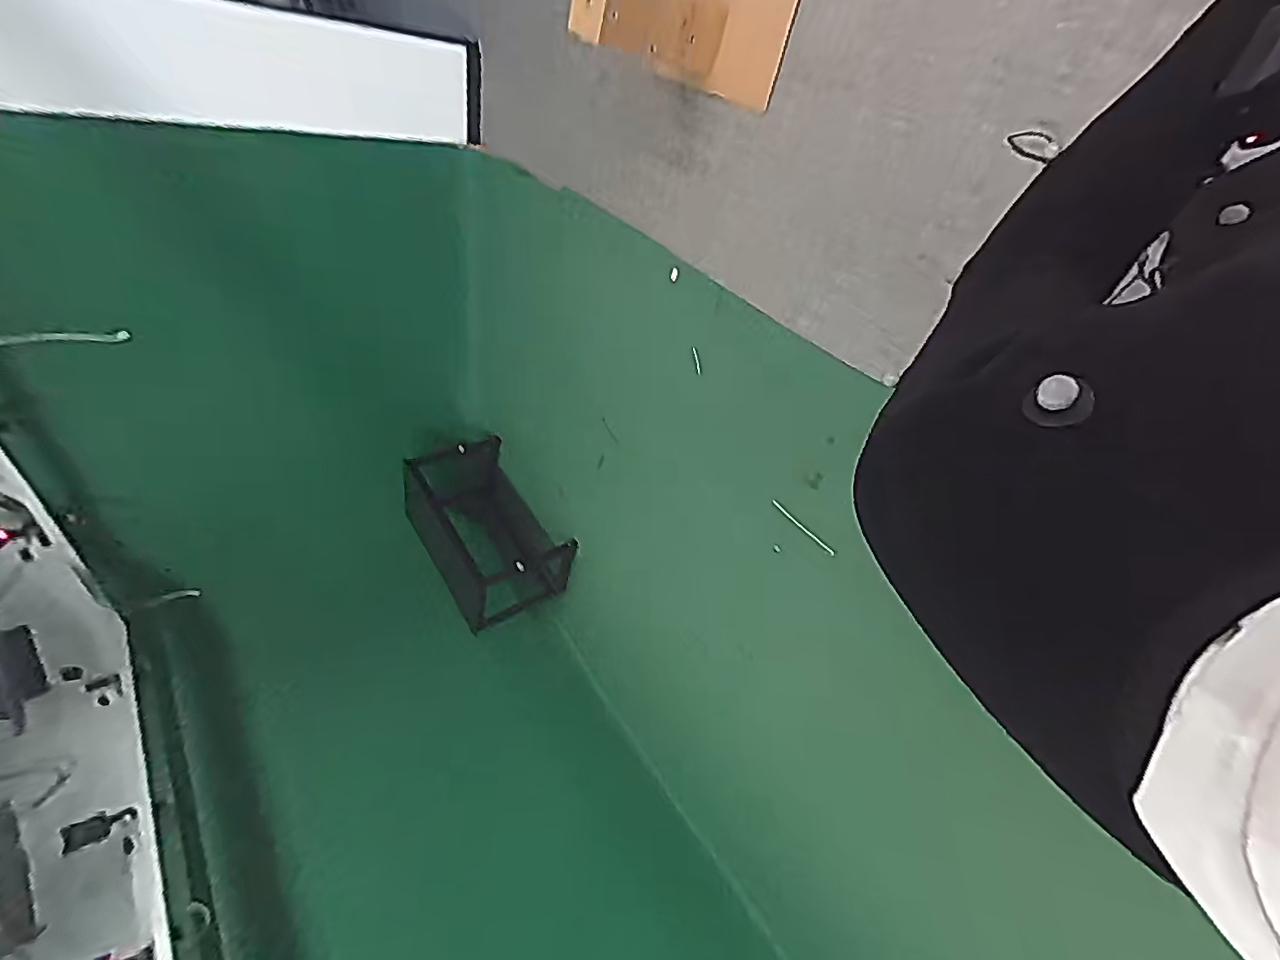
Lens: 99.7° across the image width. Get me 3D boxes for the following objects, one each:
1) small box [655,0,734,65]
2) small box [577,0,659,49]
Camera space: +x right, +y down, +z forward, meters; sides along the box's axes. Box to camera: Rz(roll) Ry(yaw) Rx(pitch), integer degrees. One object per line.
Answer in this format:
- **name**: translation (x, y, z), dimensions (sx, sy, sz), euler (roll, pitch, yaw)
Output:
- **small box**: translation (0.182, -1.511, 1.793), dimensions (0.168, 0.176, 0.179), euler (49, 140, 28)
- **small box**: translation (-0.061, -1.412, 1.597), dimensions (0.168, 0.176, 0.179), euler (50, 140, 25)
